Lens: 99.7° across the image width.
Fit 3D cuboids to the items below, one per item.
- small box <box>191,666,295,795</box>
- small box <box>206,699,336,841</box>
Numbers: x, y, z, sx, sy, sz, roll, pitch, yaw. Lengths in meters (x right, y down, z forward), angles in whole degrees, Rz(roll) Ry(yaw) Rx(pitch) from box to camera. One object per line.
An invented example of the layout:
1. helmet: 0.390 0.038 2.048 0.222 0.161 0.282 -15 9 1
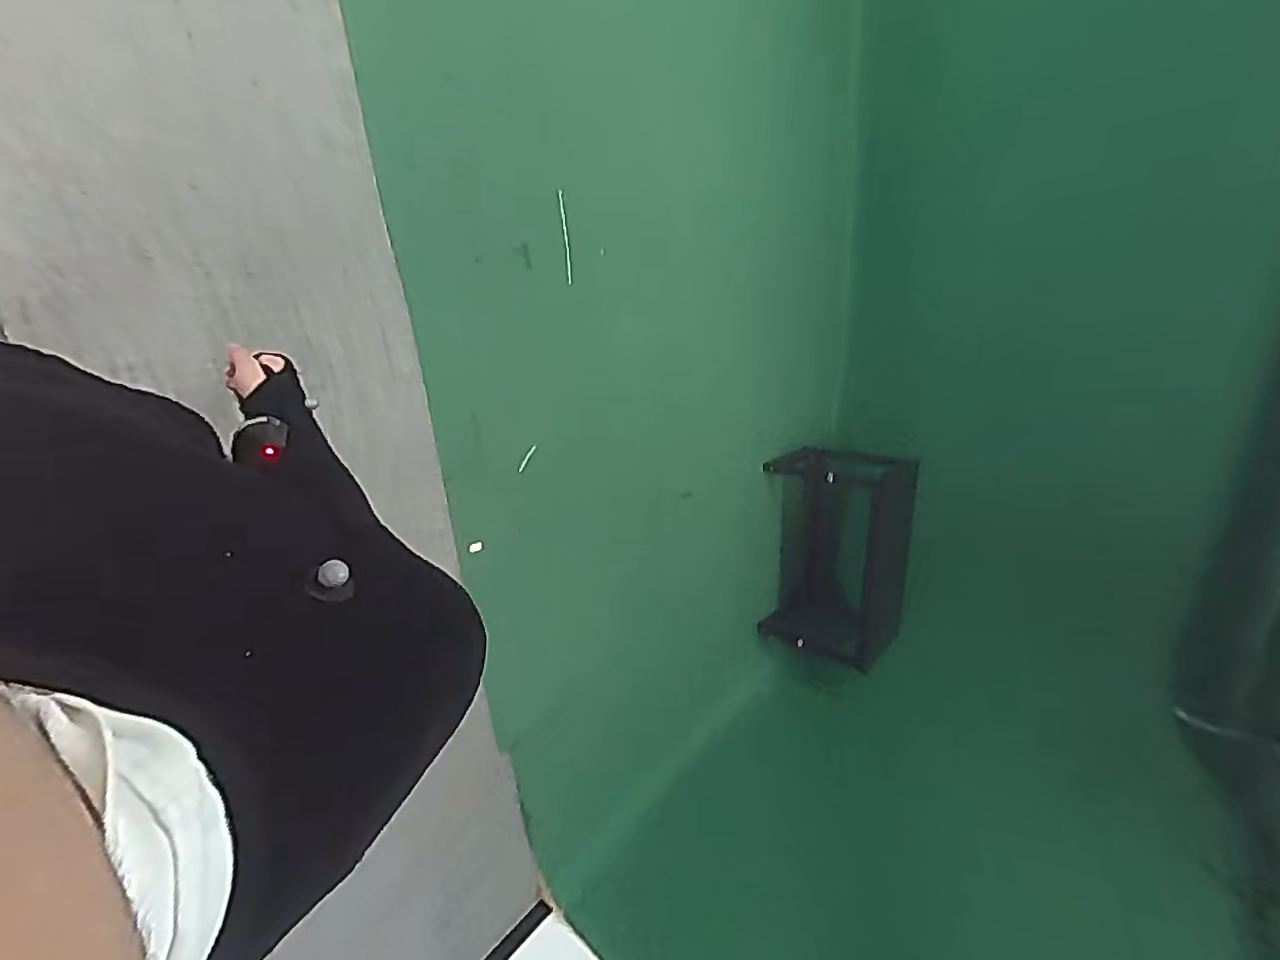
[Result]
1. small box: -0.894 0.562 1.238 0.168 0.176 0.179 -20 114 -45
2. small box: -0.772 0.588 1.132 0.168 0.176 0.179 -22 117 -43
